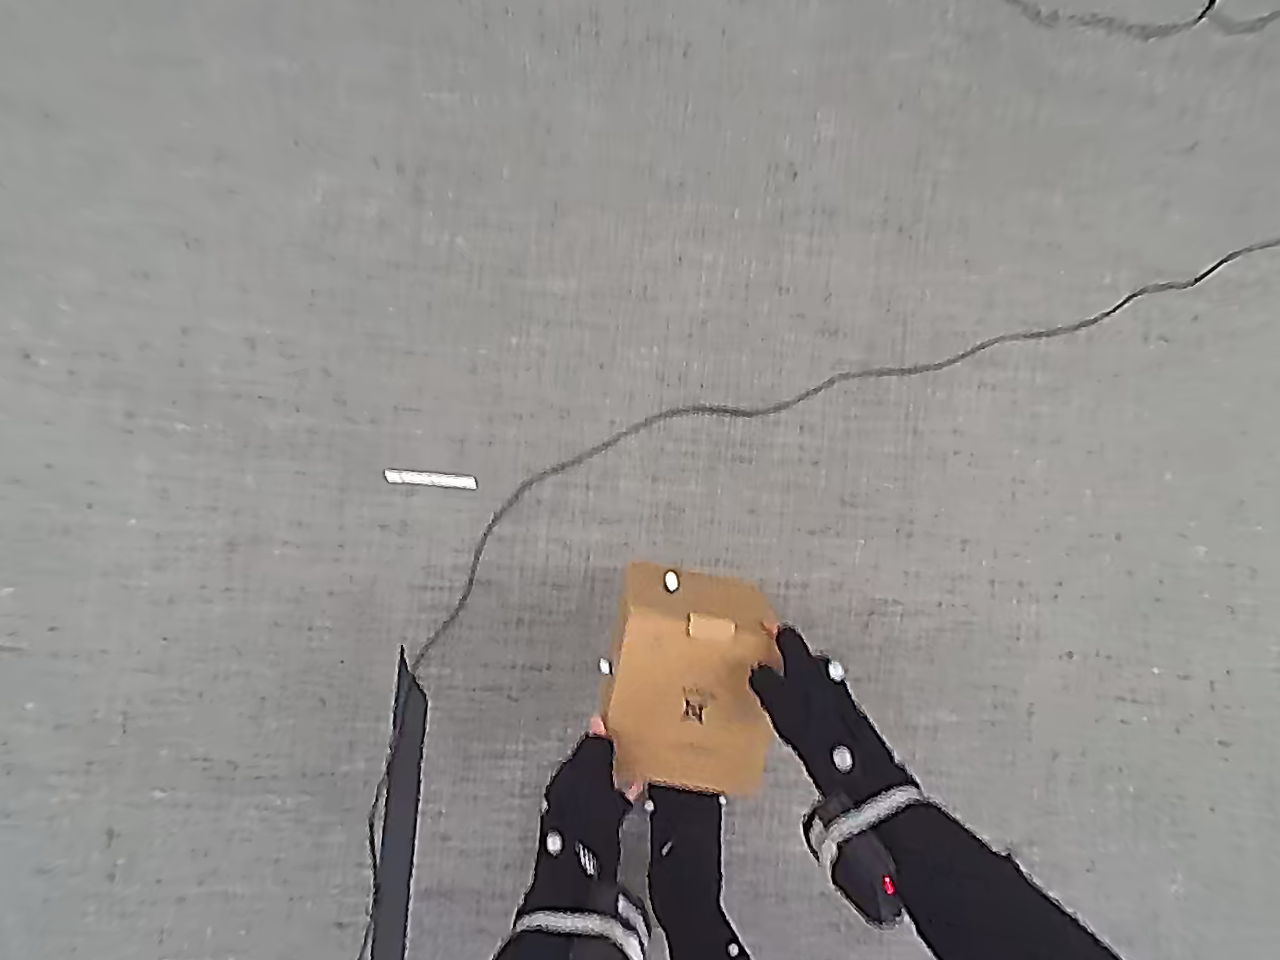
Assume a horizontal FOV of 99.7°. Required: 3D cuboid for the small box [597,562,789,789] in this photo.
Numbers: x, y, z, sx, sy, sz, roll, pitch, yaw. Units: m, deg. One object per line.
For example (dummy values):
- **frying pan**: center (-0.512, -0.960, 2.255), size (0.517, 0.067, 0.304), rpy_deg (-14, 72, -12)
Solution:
- **small box**: center (0.049, 0.208, 0.619), size (0.168, 0.176, 0.179), rpy_deg (11, 99, -3)
